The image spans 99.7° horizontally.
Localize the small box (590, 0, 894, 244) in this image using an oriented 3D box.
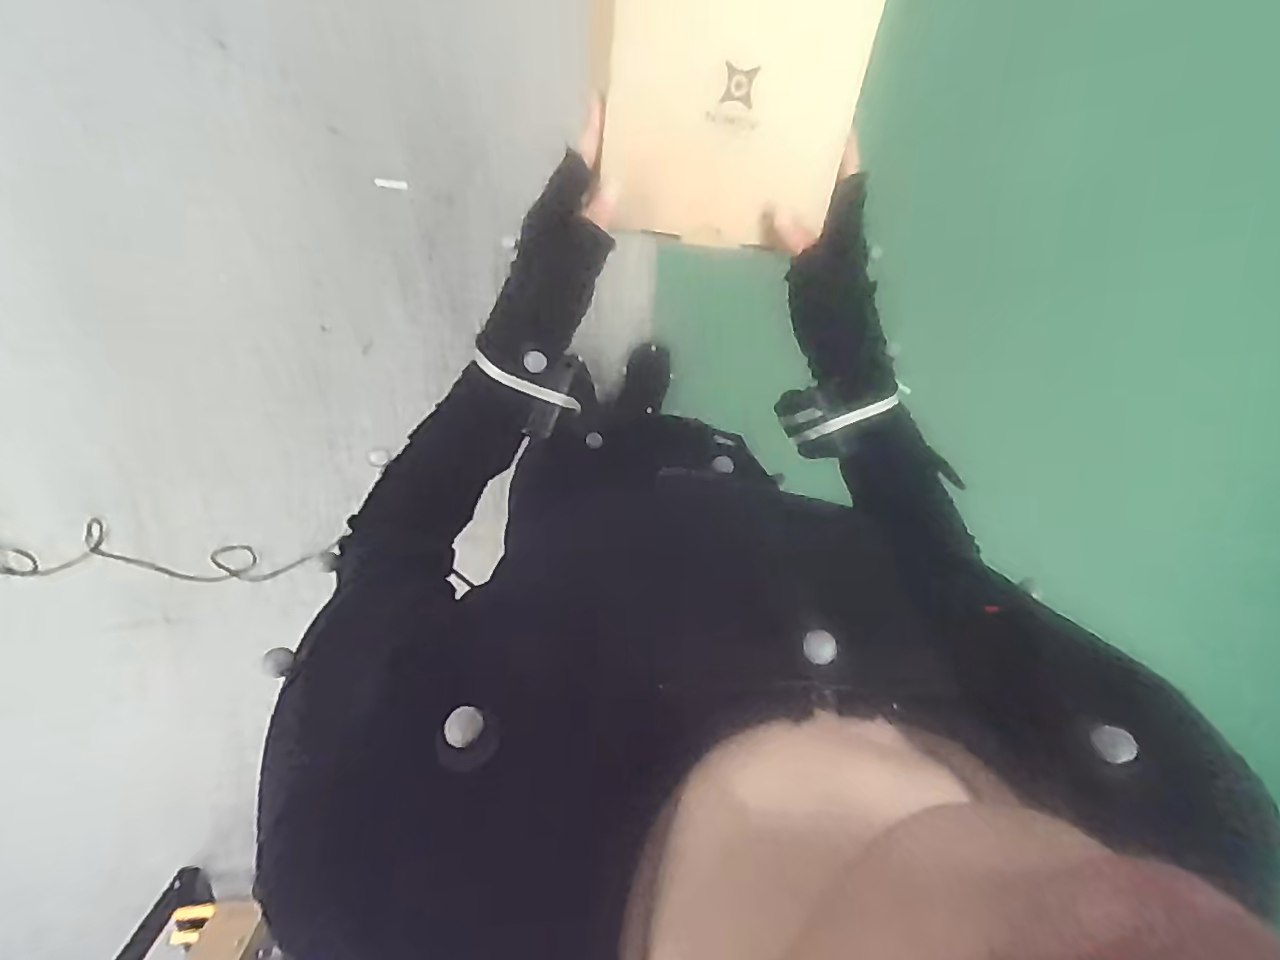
[{"bbox_3d":[0.055,-0.290,0.407,0.168,0.176,0.179,1,120,-12],"label":"small box"}]
